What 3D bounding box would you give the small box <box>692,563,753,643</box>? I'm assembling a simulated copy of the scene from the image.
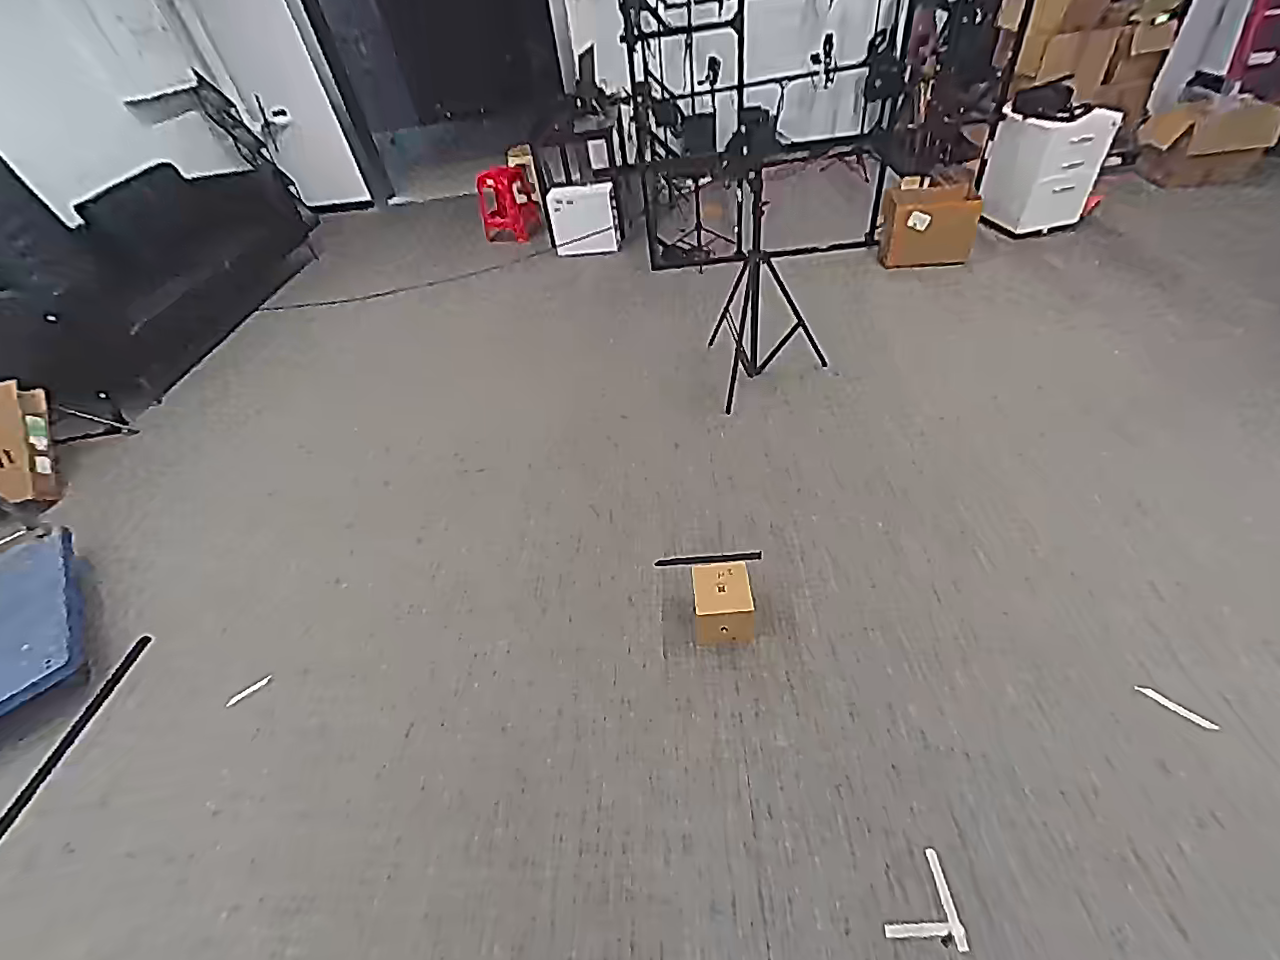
[{"bbox_3d":[0.248,0.377,1.630,0.168,0.176,0.179,-5,43,4],"label":"small box"}]
